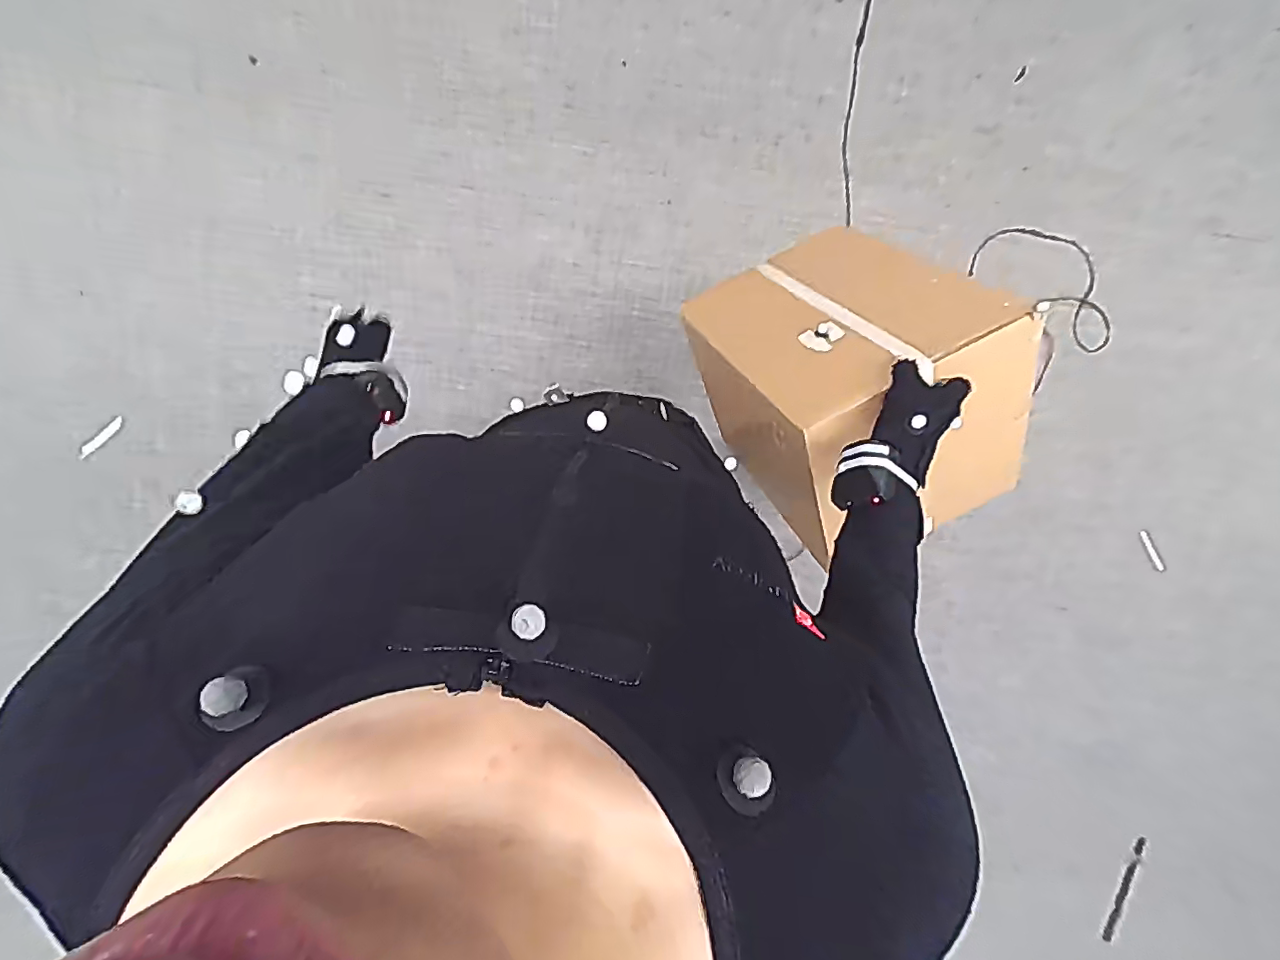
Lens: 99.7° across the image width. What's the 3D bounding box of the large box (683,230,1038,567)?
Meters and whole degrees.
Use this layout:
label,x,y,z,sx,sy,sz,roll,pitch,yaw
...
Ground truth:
label,x,y,z,sx,sy,sz,roll,pitch,yaw
large box,0.316,-0.144,0.873,0.320,0.408,0.320,-27,132,0
